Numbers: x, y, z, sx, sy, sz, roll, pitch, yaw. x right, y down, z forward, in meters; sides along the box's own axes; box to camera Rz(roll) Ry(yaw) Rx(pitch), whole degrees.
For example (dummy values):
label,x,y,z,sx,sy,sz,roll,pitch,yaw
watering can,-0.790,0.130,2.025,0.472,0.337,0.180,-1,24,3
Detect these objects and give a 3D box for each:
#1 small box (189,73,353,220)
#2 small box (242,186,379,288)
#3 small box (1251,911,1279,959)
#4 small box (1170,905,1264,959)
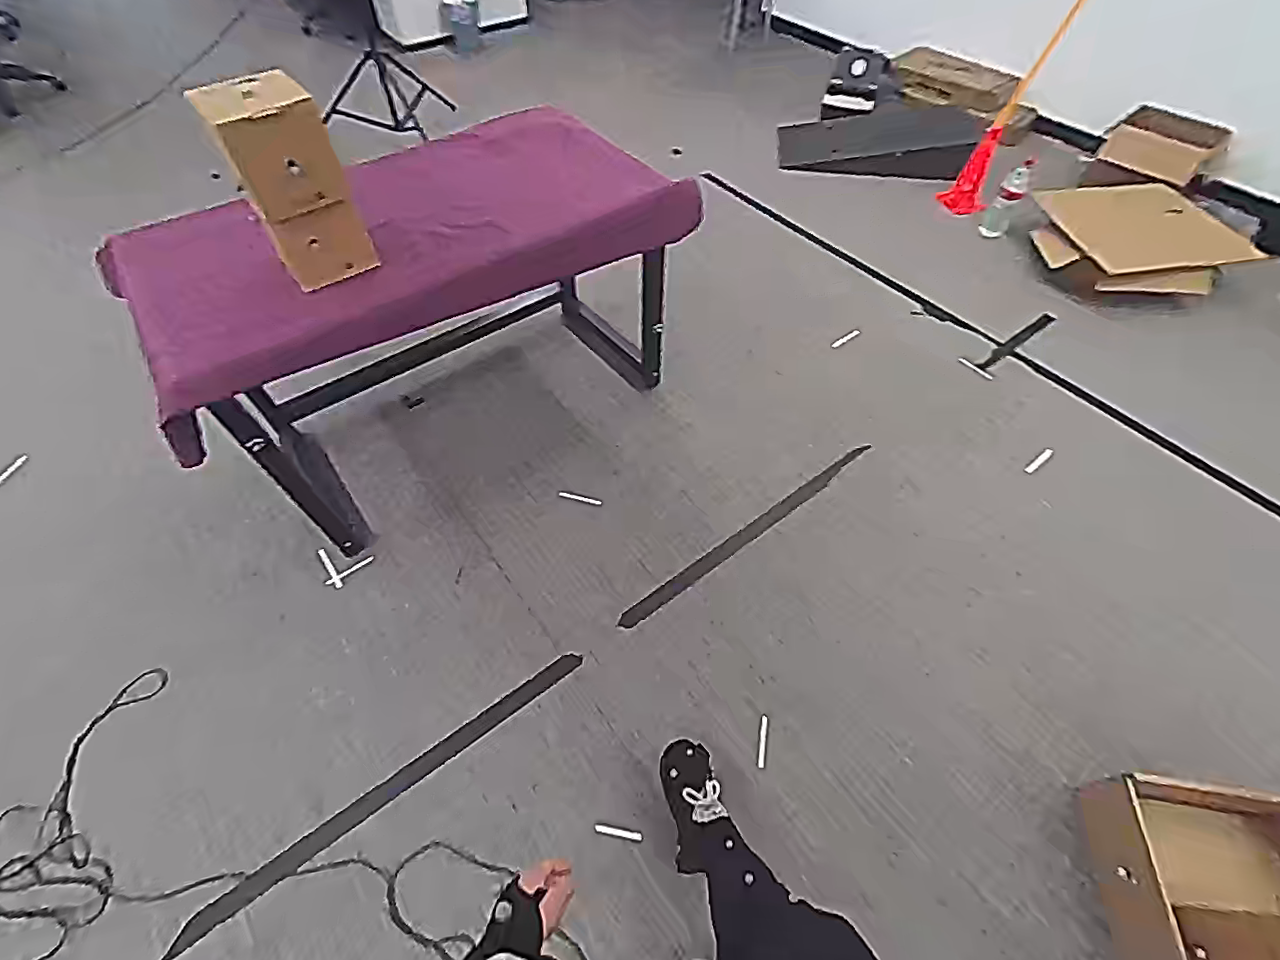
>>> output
label,x,y,z,sx,sy,sz,roll,pitch,yaw
small box,-0.670,-0.610,1.000,0.168,0.176,0.179,-34,62,-22
small box,-0.688,-0.533,1.146,0.168,0.176,0.179,-33,61,-21
small box,1.174,0.816,0.875,0.179,0.176,0.168,4,57,1
small box,1.169,0.912,1.005,0.179,0.176,0.168,7,56,5
